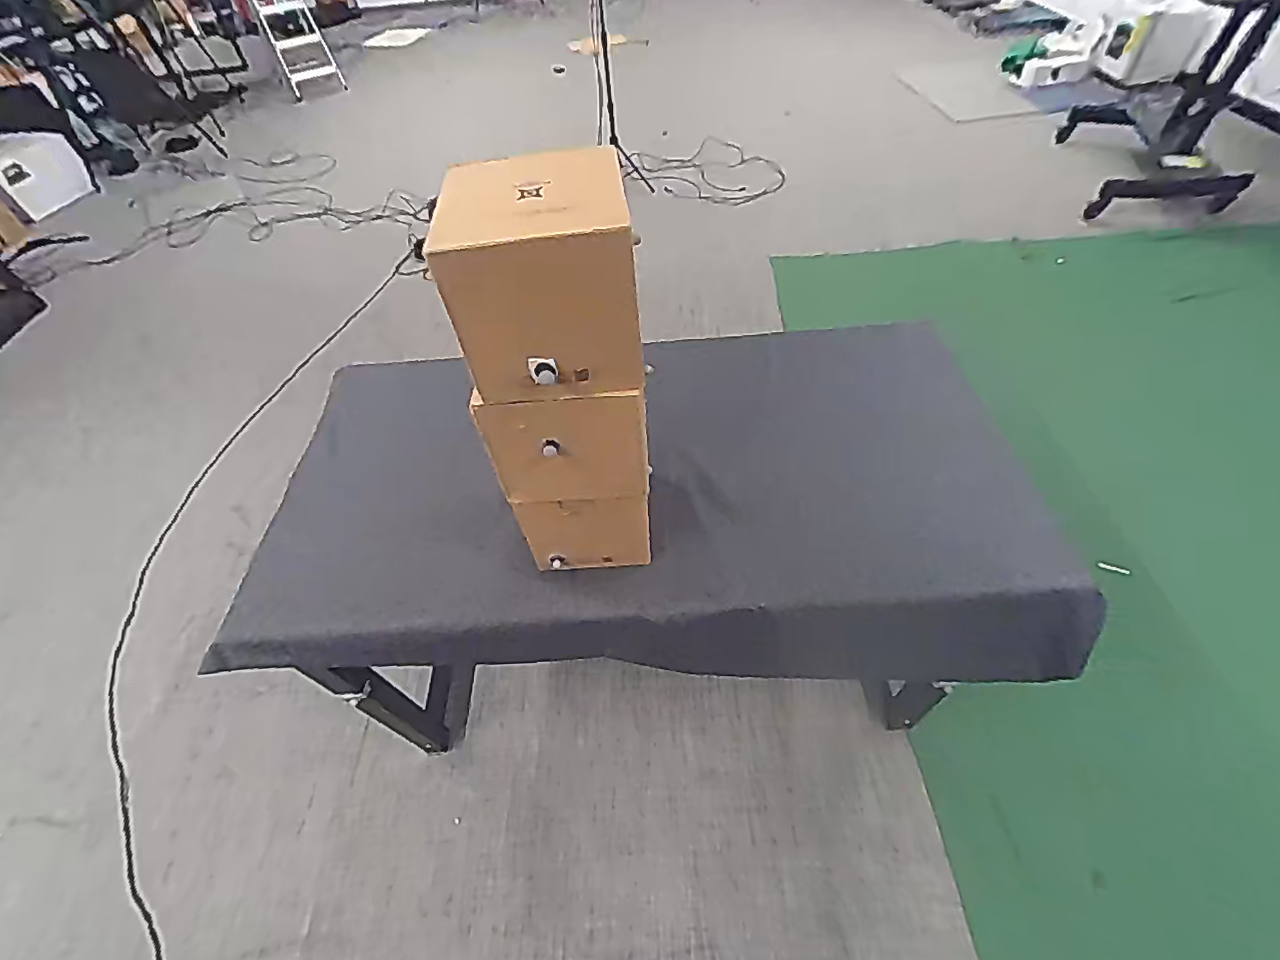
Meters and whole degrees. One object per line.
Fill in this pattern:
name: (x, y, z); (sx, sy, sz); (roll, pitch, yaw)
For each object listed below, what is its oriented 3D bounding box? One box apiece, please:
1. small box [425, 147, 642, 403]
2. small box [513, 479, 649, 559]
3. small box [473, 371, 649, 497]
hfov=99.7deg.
small box: (-0.093, -0.202, 0.542); (0.168, 0.176, 0.179); (-9, 51, -1)
small box: (-0.076, 0.004, 0.794); (0.168, 0.176, 0.179); (-4, 49, 2)
small box: (-0.085, -0.093, 0.667); (0.179, 0.176, 0.168); (-6, 48, 0)
